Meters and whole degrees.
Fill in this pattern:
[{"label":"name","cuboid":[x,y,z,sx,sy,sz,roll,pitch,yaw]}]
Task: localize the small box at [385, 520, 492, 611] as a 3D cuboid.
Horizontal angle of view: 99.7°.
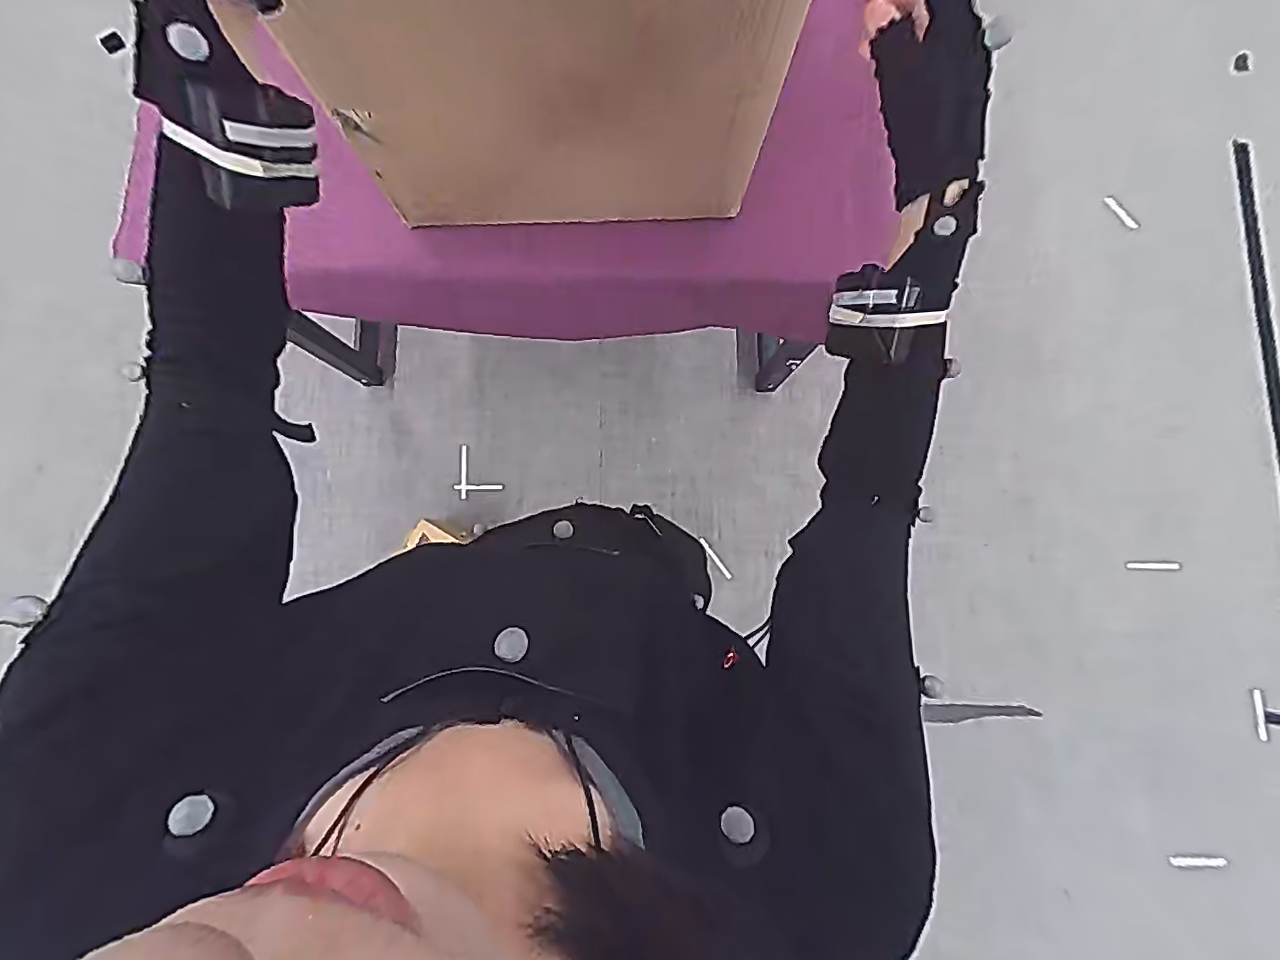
[{"label":"small box","cuboid":[-0.517,0.221,1.414,0.179,0.176,0.168,31,84,1]}]
